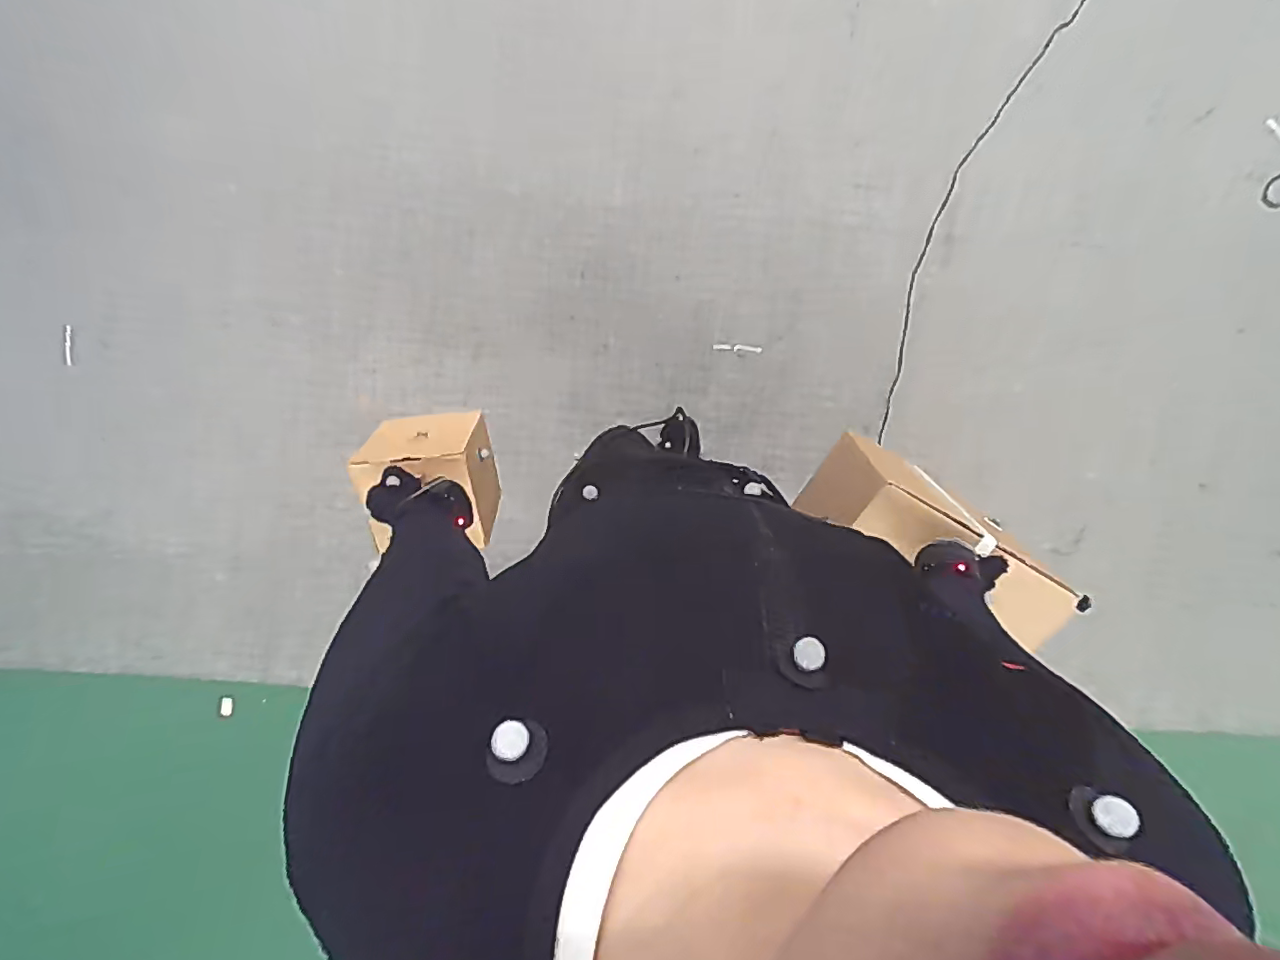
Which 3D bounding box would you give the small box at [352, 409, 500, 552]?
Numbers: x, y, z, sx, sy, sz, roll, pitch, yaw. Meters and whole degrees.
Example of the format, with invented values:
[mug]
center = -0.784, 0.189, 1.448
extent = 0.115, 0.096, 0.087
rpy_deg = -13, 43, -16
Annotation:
[small box]
center = -0.335, -0.003, 0.886
extent = 0.168, 0.179, 0.176
rpy_deg = -7, 118, -2
